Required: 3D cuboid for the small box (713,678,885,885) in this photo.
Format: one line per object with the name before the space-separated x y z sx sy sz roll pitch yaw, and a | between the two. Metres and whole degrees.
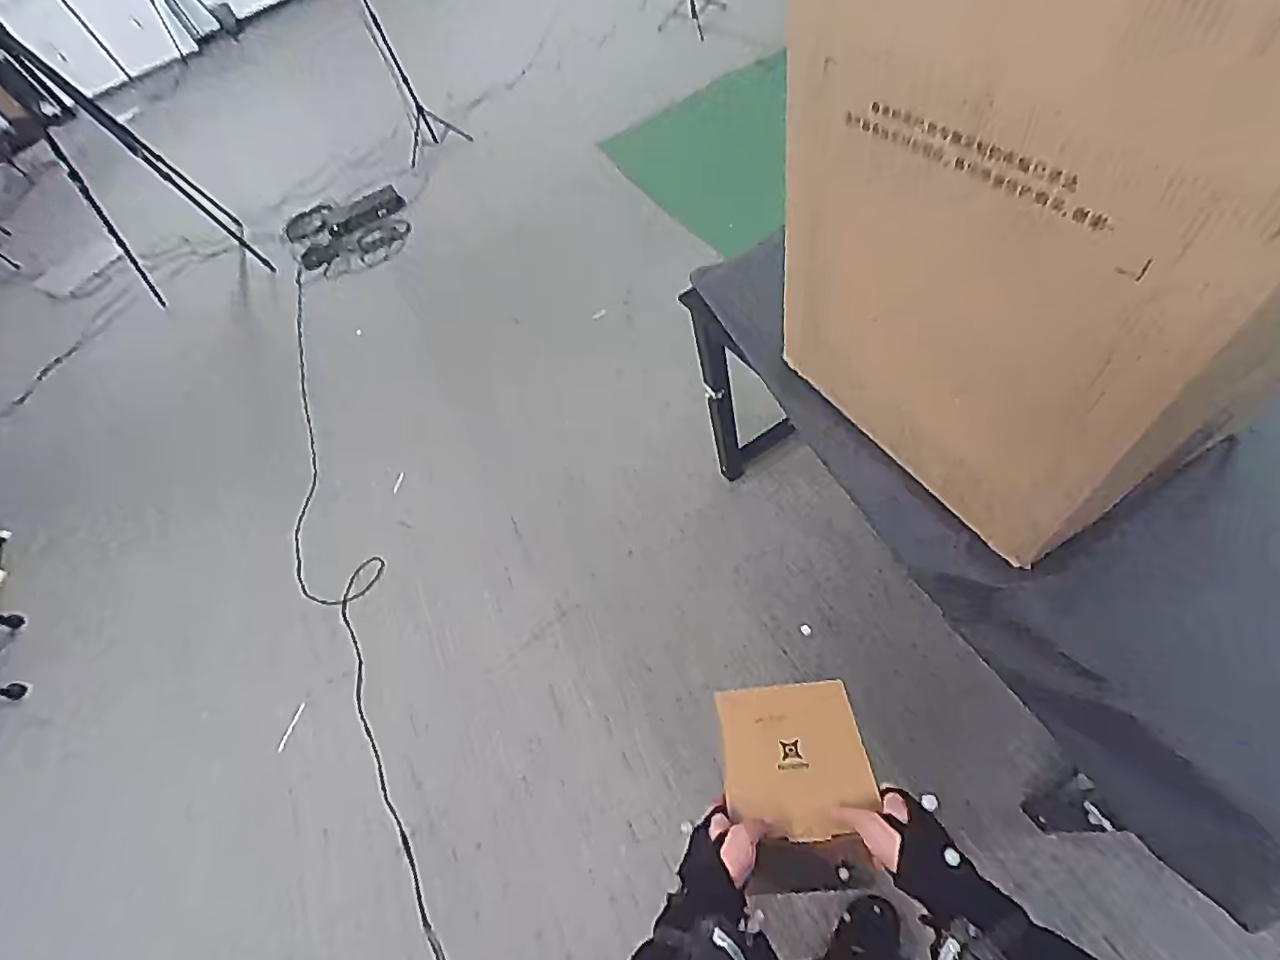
small box | 0.188 0.379 0.677 0.168 0.176 0.179 -7 35 5
